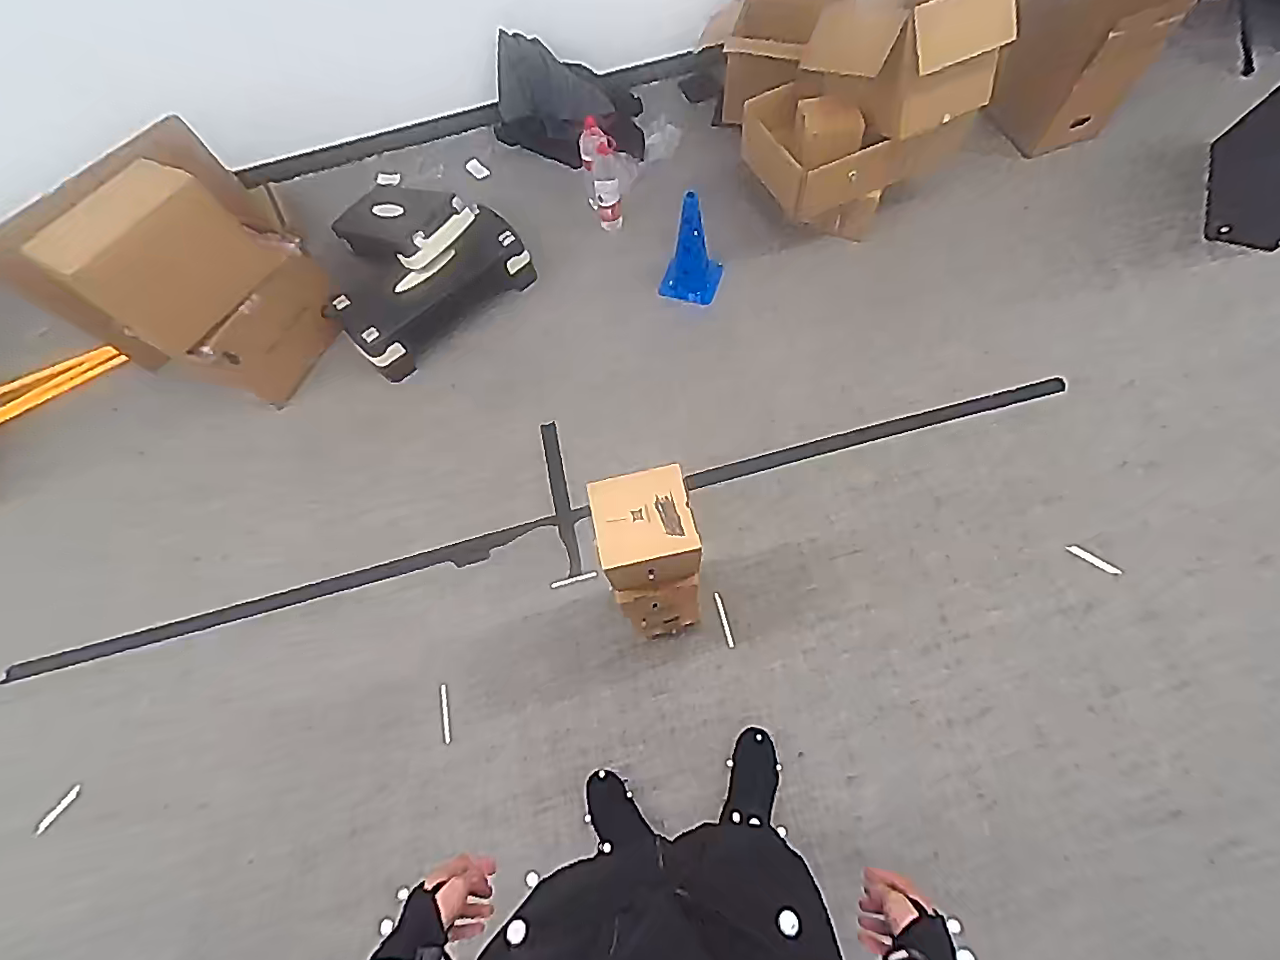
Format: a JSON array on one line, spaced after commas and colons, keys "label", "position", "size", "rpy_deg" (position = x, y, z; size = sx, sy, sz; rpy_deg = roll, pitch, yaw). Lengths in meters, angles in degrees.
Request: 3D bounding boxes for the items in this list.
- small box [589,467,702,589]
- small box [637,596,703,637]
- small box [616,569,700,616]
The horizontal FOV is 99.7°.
[{"label": "small box", "position": [0.012, 0.097, 1.017], "size": [0.179, 0.176, 0.168], "rpy_deg": [-13, 66, 1]}, {"label": "small box", "position": [0.063, 0.308, 1.459], "size": [0.168, 0.176, 0.179], "rpy_deg": [-18, 68, -2]}, {"label": "small box", "position": [0.026, 0.179, 1.160], "size": [0.168, 0.176, 0.179], "rpy_deg": [-14, 67, -1]}]
